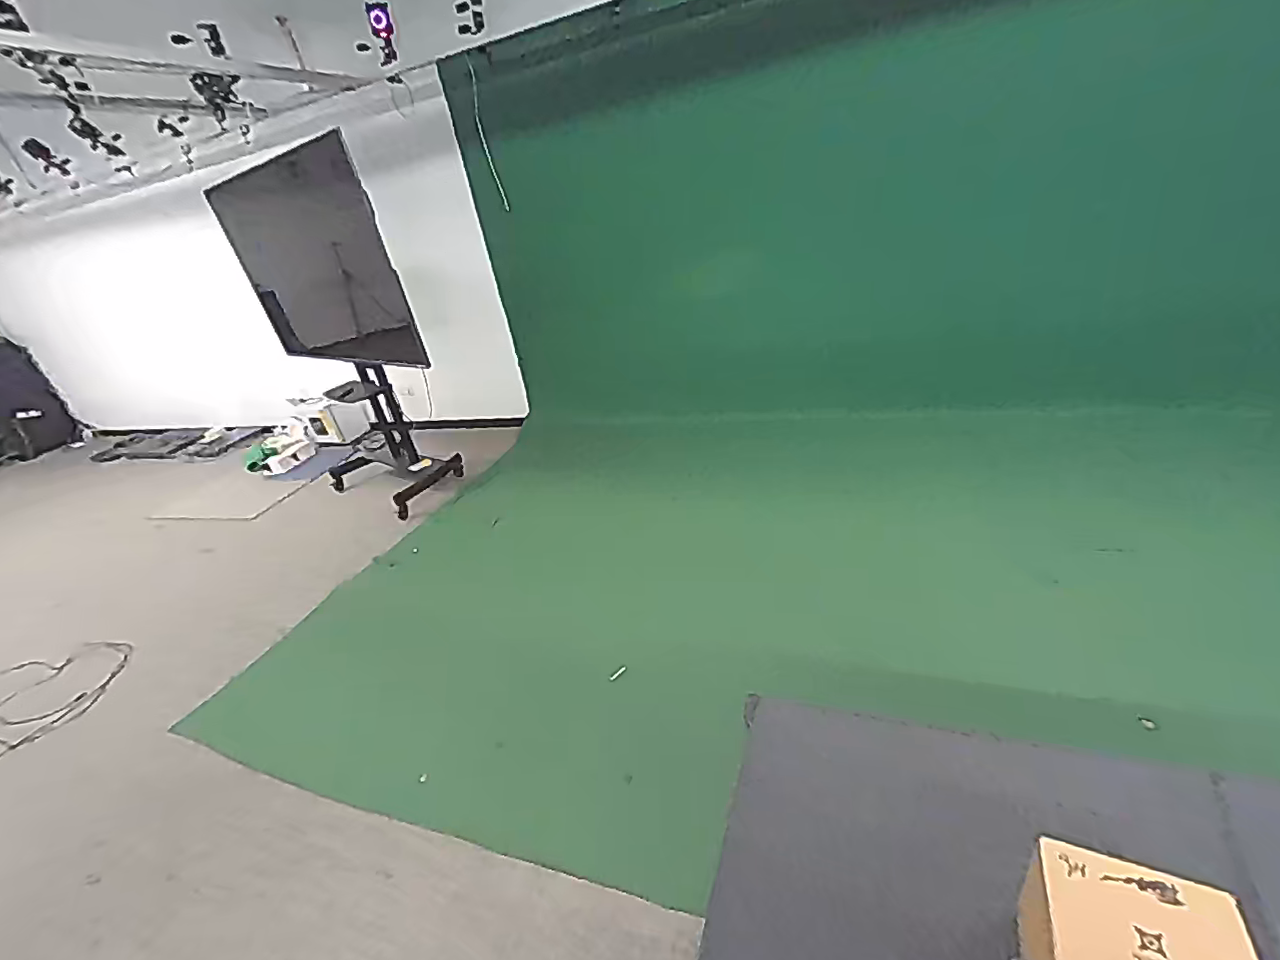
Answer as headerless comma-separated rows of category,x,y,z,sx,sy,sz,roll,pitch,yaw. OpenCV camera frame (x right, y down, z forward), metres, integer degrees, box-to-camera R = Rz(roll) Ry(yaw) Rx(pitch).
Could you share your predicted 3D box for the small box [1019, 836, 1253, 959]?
small box,0.514,0.531,0.567,0.168,0.176,0.179,2,29,26
